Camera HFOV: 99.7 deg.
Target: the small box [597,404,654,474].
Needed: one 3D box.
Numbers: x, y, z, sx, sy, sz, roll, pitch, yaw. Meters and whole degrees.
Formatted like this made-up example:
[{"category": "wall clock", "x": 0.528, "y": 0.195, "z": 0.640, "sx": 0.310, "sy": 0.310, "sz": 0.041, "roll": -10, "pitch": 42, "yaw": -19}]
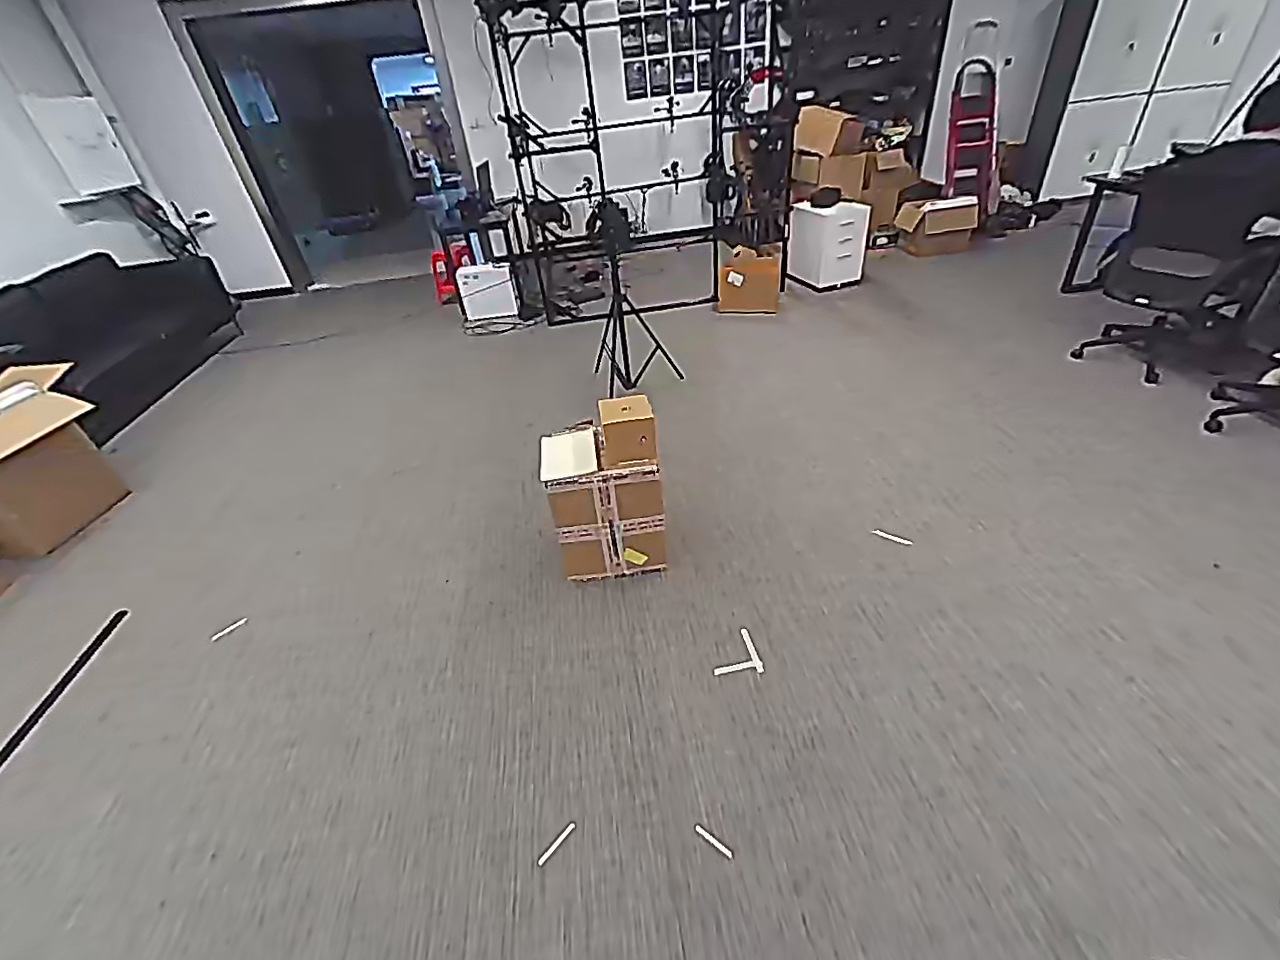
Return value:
[{"category": "small box", "x": -0.049, "y": -0.142, "z": 1.871, "sx": 0.179, "sy": 0.176, "sz": 0.168, "roll": -9, "pitch": 37, "yaw": -5}]
